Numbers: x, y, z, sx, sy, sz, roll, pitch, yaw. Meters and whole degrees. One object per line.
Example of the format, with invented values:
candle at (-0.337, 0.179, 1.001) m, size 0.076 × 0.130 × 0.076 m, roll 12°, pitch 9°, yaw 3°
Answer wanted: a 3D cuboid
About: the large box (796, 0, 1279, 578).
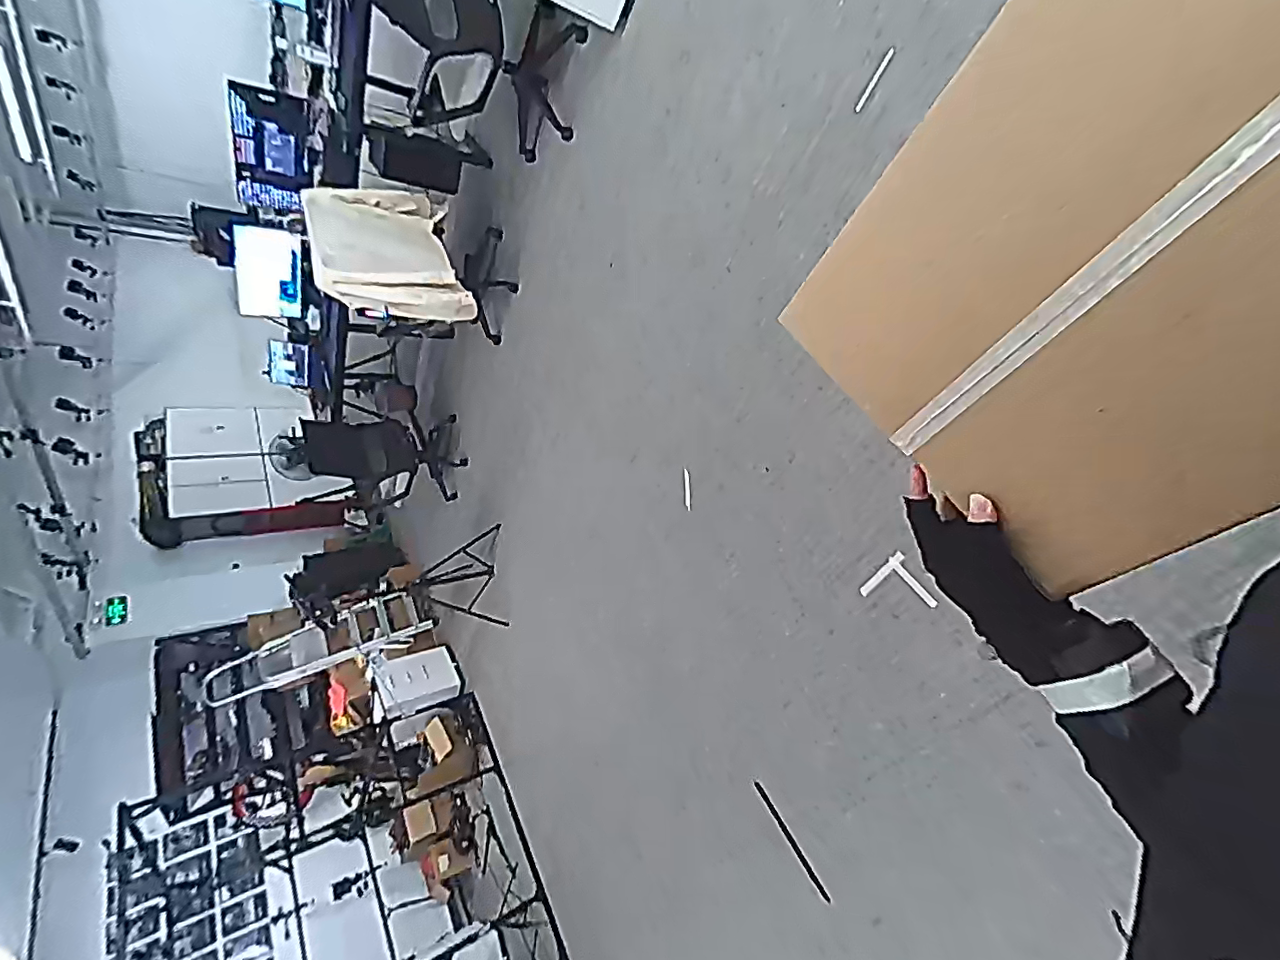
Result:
large box at (0.408, -0.195, 0.403) m, size 0.320 × 0.320 × 0.408 m, roll 53°, pitch 140°, yaw 17°
